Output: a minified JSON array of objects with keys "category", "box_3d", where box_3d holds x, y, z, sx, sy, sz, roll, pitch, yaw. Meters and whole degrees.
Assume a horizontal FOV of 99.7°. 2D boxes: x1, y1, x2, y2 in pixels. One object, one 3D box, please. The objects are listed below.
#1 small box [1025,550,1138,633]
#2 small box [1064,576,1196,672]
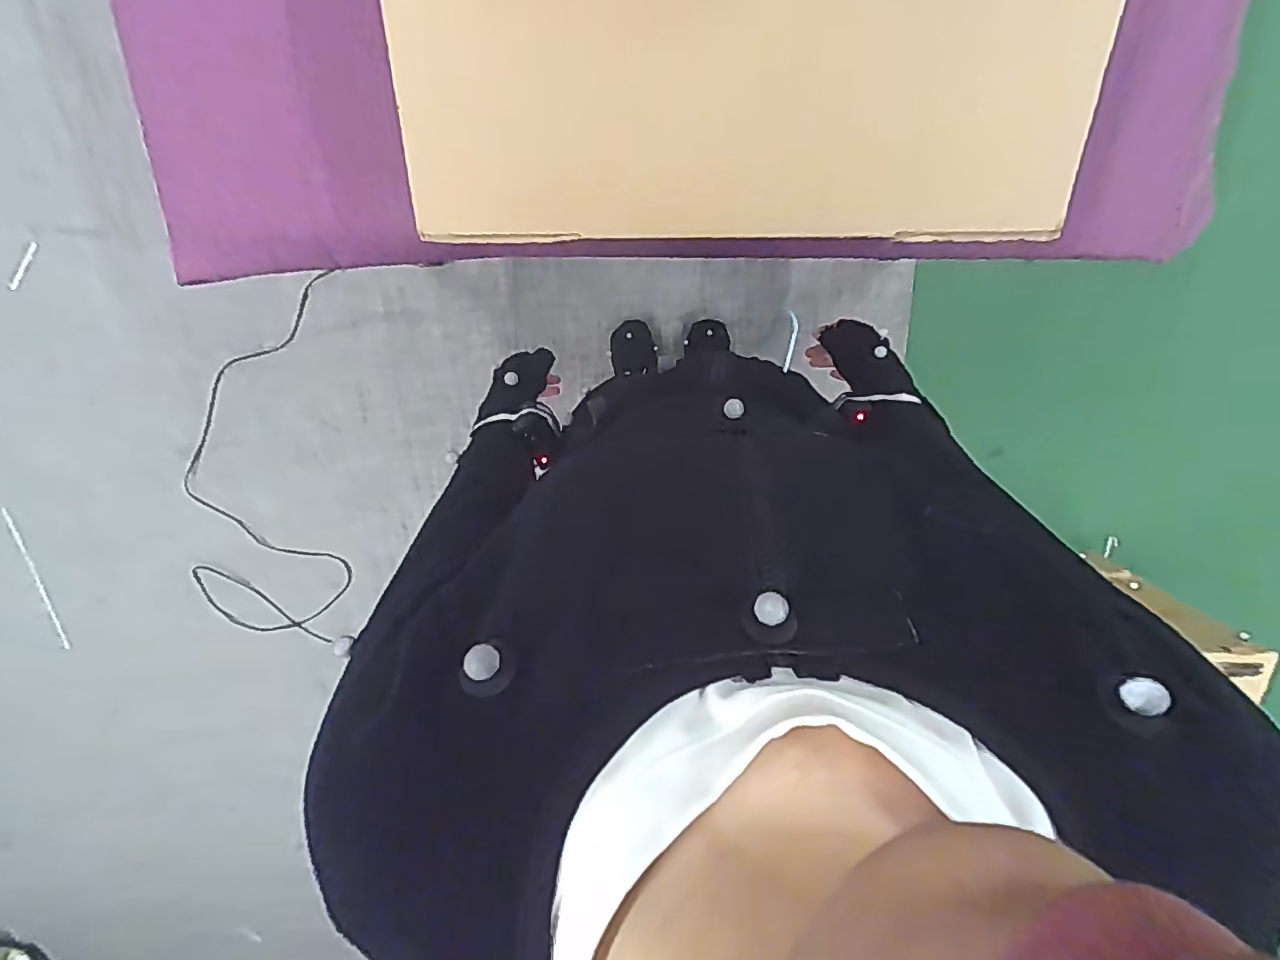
[{"category":"small box","box_3d":[1.237,0.313,1.531,0.168,0.176,0.179,-1,108,0]},{"category":"small box","box_3d":[1.231,0.364,1.376,0.168,0.176,0.179,0,107,0]}]
